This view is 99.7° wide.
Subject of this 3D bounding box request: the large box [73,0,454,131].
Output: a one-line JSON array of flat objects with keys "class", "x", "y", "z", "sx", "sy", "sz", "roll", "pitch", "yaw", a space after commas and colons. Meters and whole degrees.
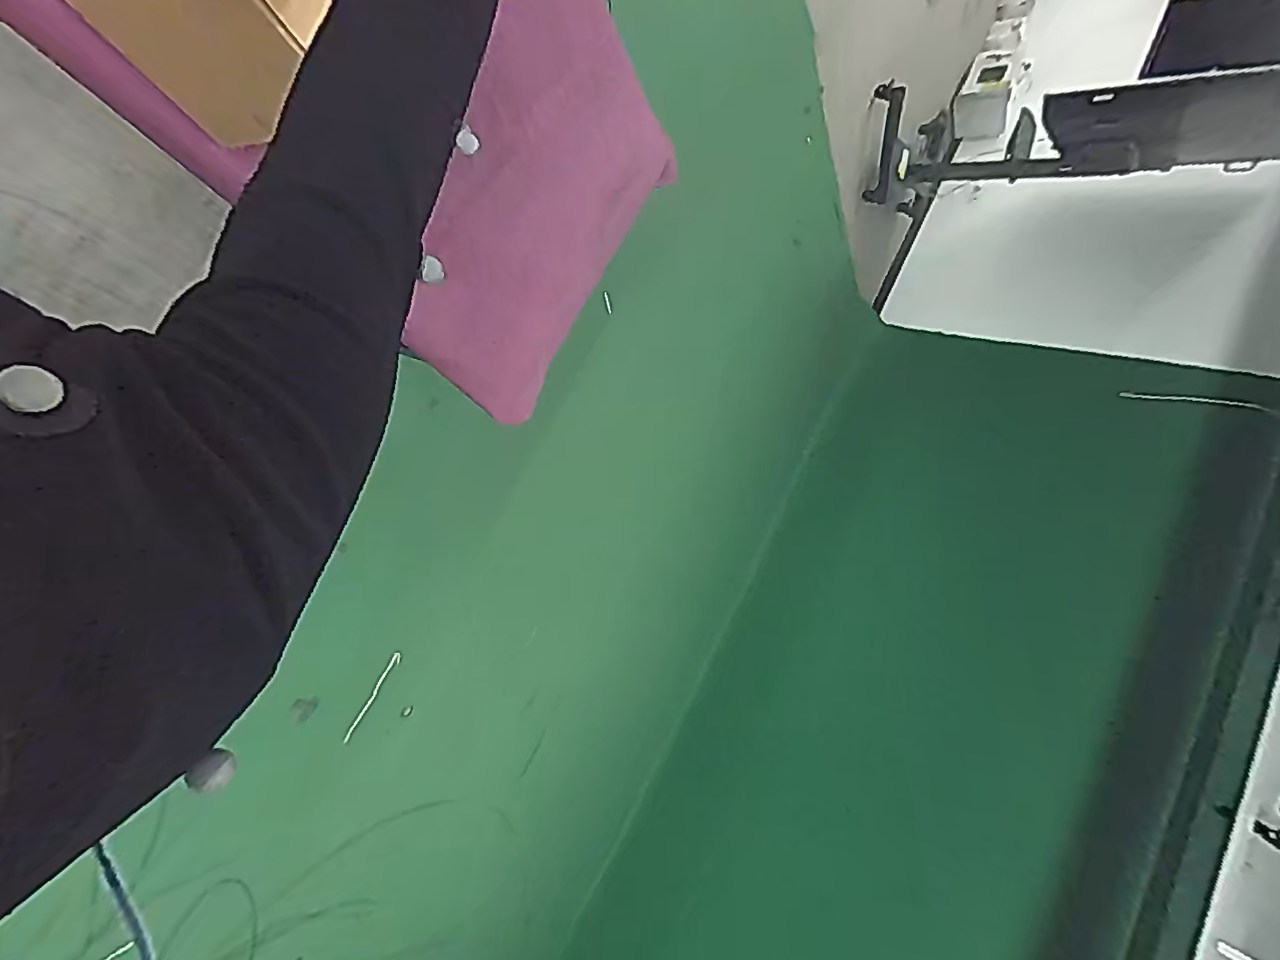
[{"class": "large box", "x": -0.304, "y": -0.559, "z": 0.422, "sx": 0.408, "sy": 0.320, "sz": 0.320, "roll": -59, "pitch": 144, "yaw": -12}]
